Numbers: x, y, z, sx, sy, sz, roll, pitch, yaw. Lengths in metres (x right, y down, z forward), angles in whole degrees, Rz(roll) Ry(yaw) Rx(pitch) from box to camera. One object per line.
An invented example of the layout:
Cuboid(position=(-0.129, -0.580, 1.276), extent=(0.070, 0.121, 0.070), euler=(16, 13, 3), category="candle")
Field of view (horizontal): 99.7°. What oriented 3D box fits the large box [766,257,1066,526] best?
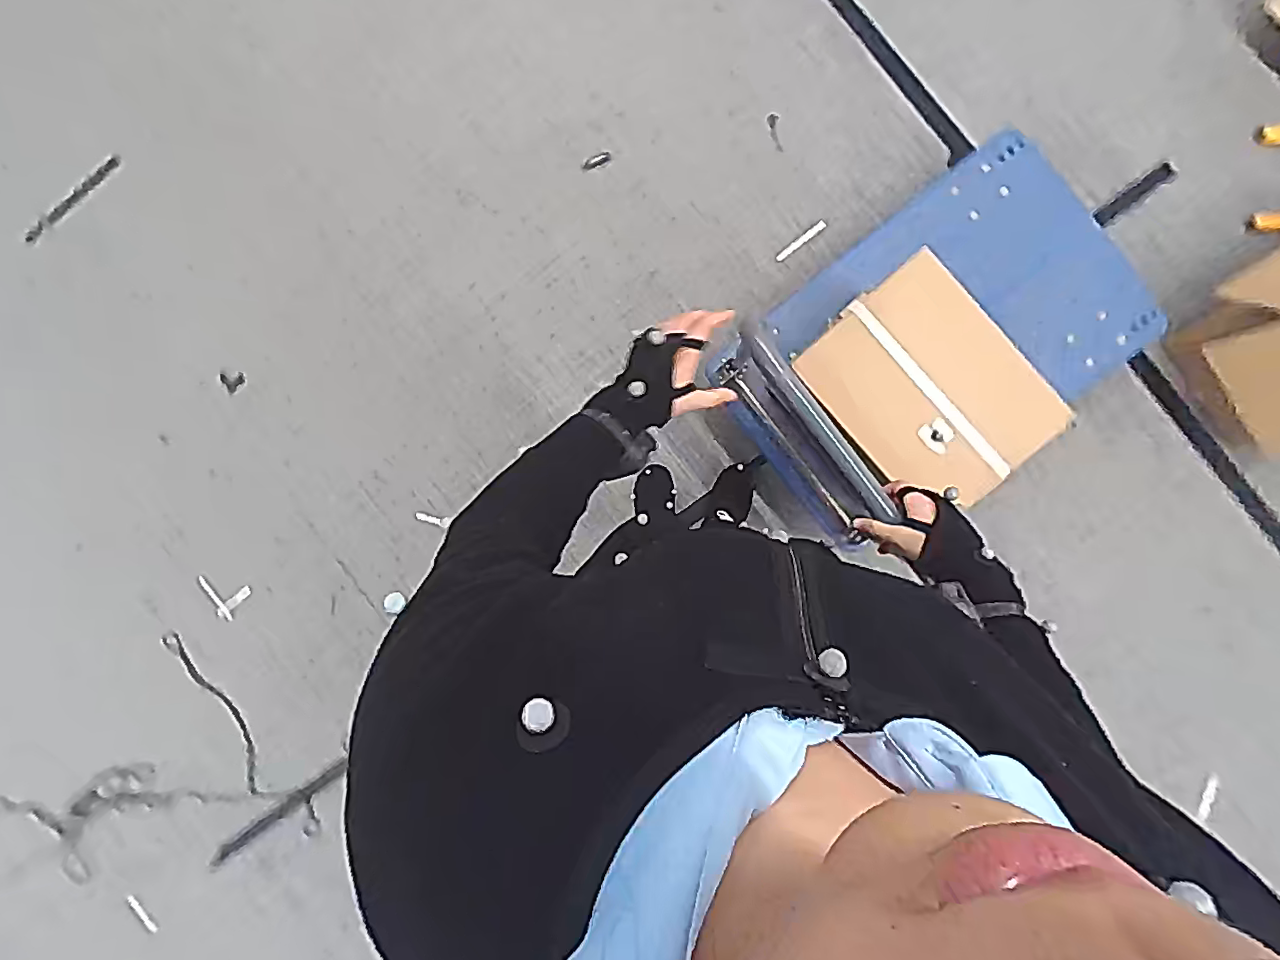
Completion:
Cuboid(position=(0.529, -0.168, 1.127), extent=(0.320, 0.320, 0.408), euler=(-41, 90, 7), category="large box")
